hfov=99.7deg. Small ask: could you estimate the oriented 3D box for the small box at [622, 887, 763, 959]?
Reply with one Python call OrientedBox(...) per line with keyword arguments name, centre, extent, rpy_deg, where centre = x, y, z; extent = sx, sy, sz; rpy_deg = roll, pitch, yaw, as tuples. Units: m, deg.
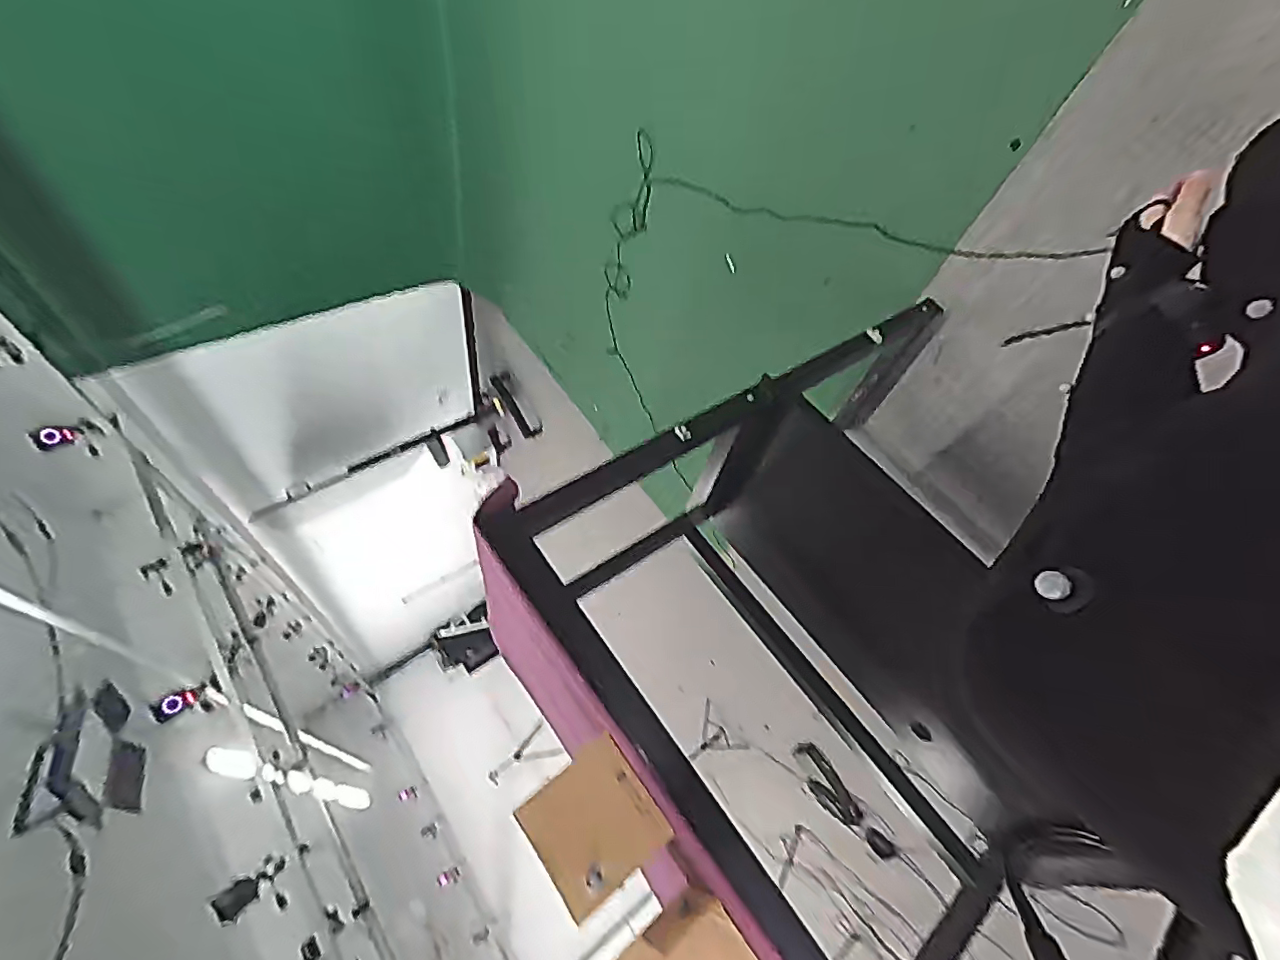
OrientedBox(name="small box", centre=(0.086, 0.698, 0.721), extent=(0.179, 0.176, 0.168), rpy_deg=(52, 152, 19))
